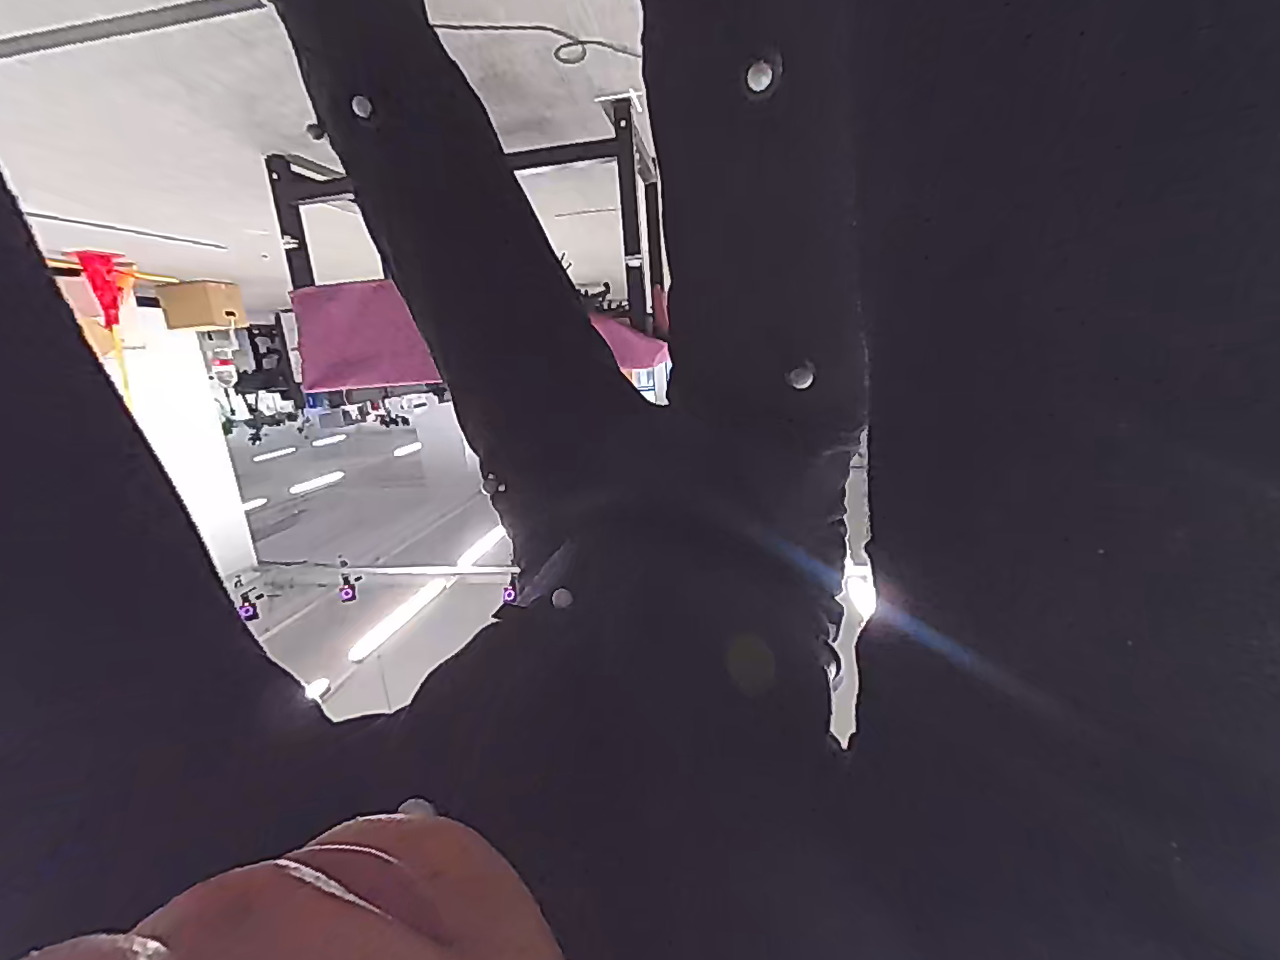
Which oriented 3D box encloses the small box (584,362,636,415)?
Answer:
[{"bbox_3d":[-0.105,-0.332,1.941,0.168,0.176,0.179,-2,-165,5],"label":"small box"}]
